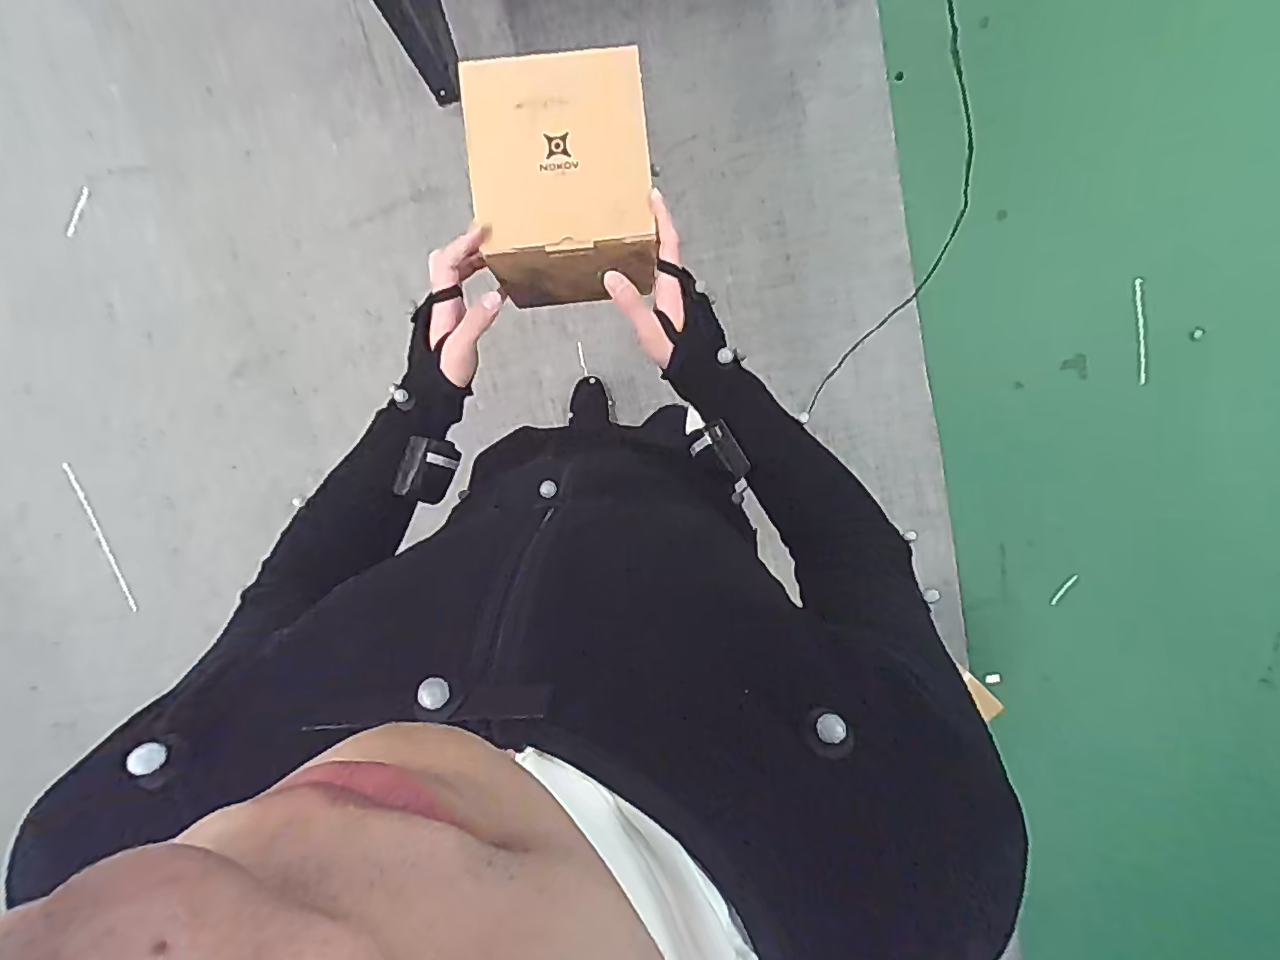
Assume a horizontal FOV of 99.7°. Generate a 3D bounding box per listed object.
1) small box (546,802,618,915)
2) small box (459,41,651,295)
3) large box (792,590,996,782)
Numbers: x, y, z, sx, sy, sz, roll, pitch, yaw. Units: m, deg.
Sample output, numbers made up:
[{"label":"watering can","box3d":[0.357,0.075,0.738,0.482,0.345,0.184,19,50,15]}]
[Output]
[{"label":"small box","box3d":[-0.149,0.998,1.432,0.168,0.176,0.179,6,99,-3]},{"label":"small box","box3d":[-0.076,-0.305,0.569,0.168,0.176,0.179,-5,91,-1]},{"label":"large box","box3d":[0.745,0.621,1.649,0.320,0.320,0.408,42,95,-10]}]
